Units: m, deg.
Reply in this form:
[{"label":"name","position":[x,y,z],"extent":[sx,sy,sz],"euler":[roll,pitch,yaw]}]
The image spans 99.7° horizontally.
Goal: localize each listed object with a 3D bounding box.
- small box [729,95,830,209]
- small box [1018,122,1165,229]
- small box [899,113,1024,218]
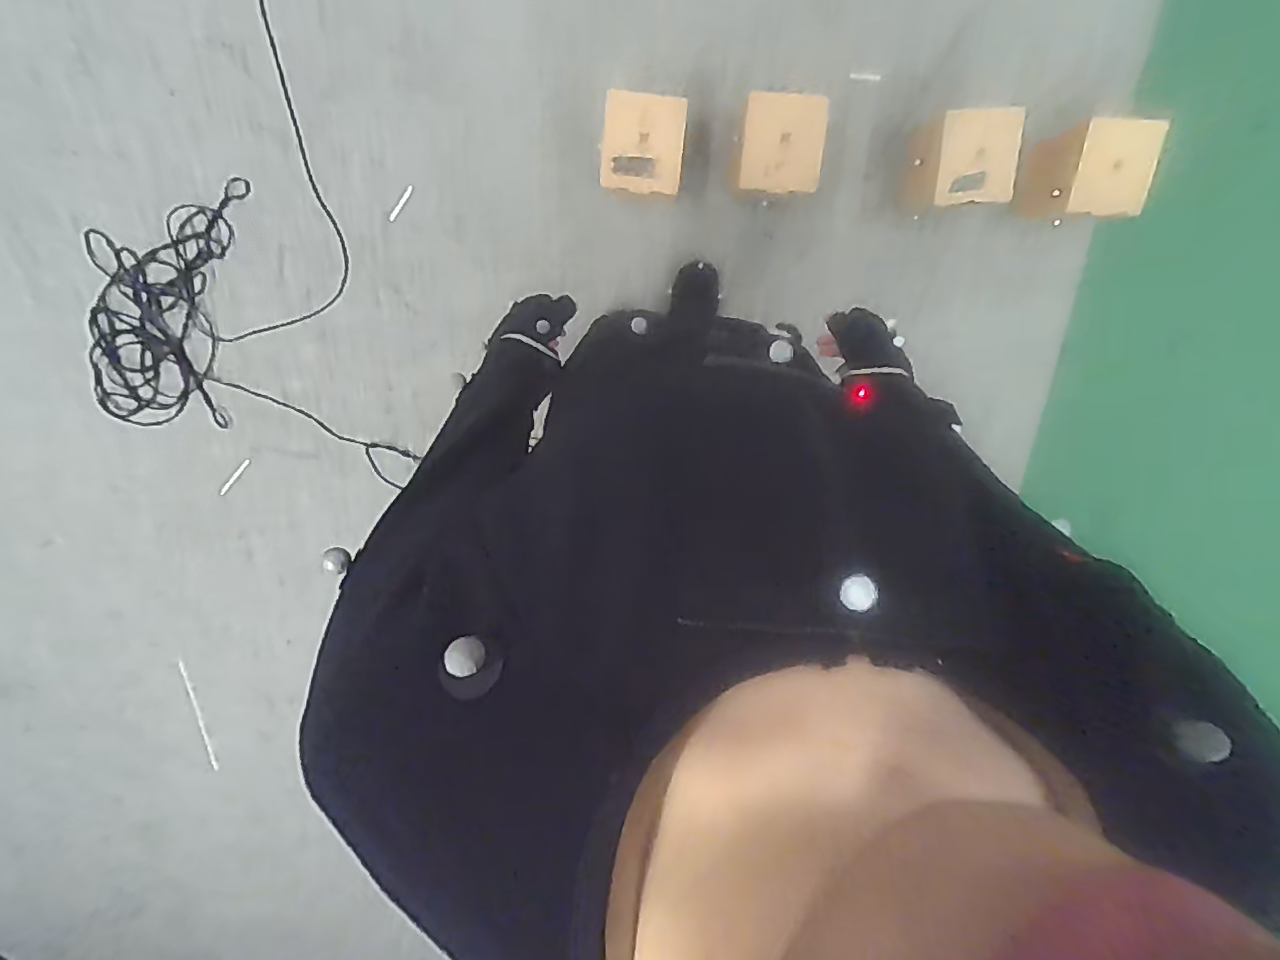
[{"label":"small box","position":[0.293,-0.703,1.176],"extent":[0.168,0.176,0.179],"euler":[3,110,-1]},{"label":"small box","position":[0.987,-0.667,1.201],"extent":[0.168,0.176,0.179],"euler":[2,109,-1]},{"label":"small box","position":[0.694,-0.681,1.191],"extent":[0.168,0.176,0.179],"euler":[-2,108,0]}]
